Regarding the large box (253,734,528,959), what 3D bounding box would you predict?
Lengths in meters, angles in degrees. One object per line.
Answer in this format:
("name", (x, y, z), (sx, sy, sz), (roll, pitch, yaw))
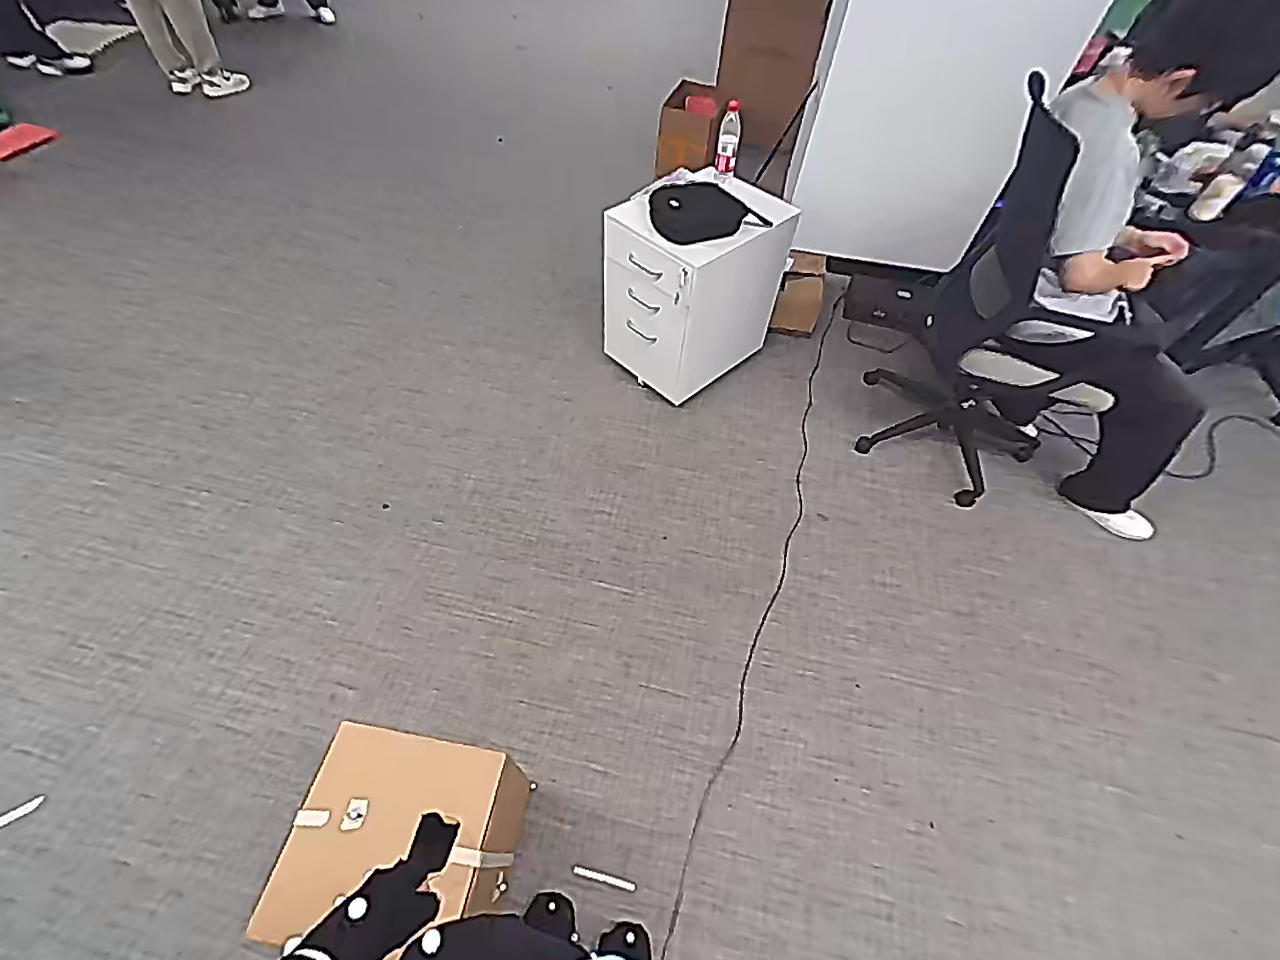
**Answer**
("large box", (-0.424, 0.708, 1.042), (0.320, 0.408, 0.320), (11, 55, 3))
